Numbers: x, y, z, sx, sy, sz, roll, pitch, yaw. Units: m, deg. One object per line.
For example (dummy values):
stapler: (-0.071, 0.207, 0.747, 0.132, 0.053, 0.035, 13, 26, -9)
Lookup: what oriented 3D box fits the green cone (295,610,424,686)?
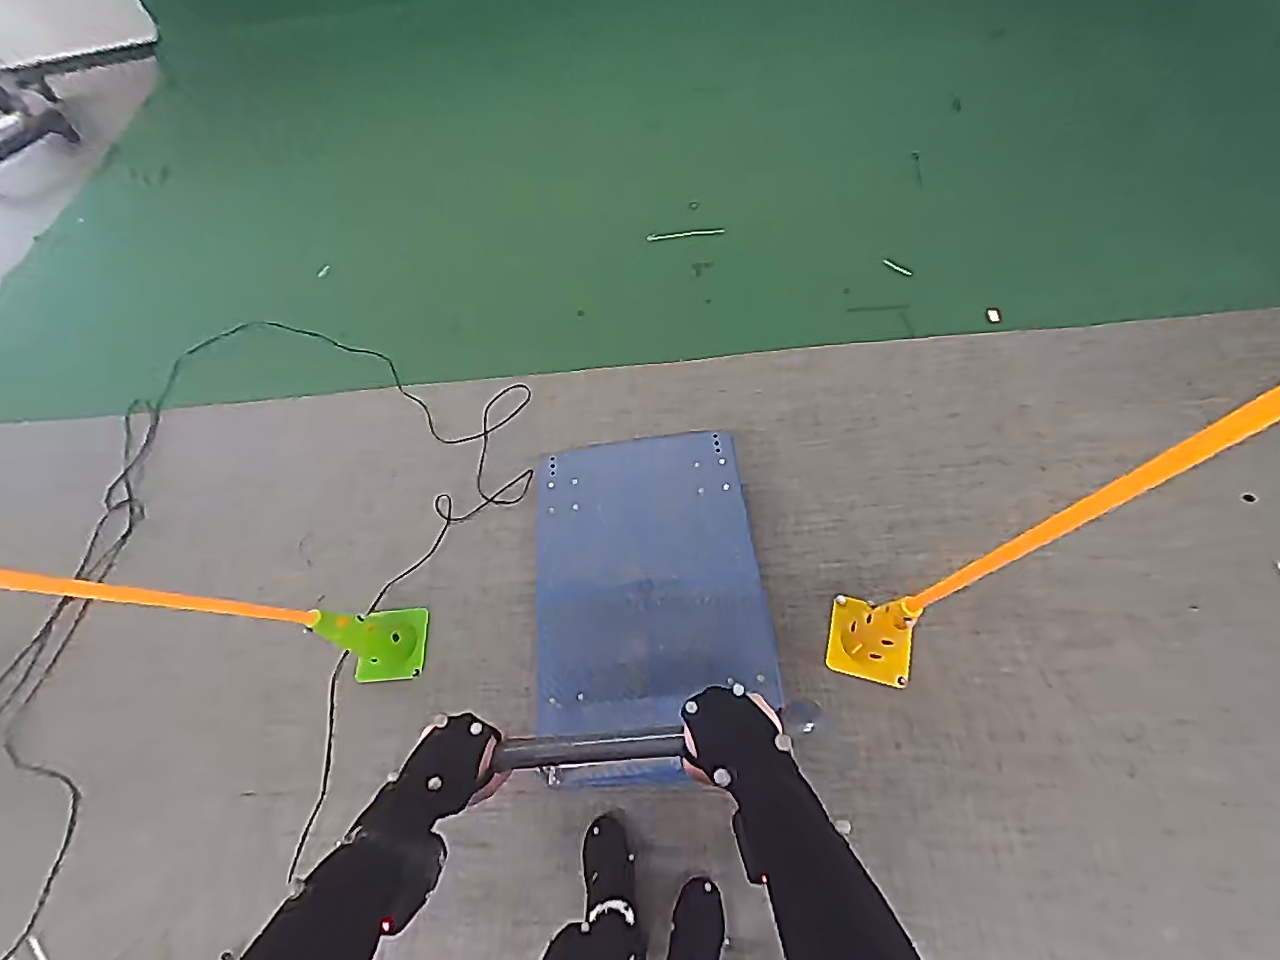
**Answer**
green cone: (-0.756, 0.405, 1.418, 0.202, 0.368, 0.200, -8, 61, 6)
